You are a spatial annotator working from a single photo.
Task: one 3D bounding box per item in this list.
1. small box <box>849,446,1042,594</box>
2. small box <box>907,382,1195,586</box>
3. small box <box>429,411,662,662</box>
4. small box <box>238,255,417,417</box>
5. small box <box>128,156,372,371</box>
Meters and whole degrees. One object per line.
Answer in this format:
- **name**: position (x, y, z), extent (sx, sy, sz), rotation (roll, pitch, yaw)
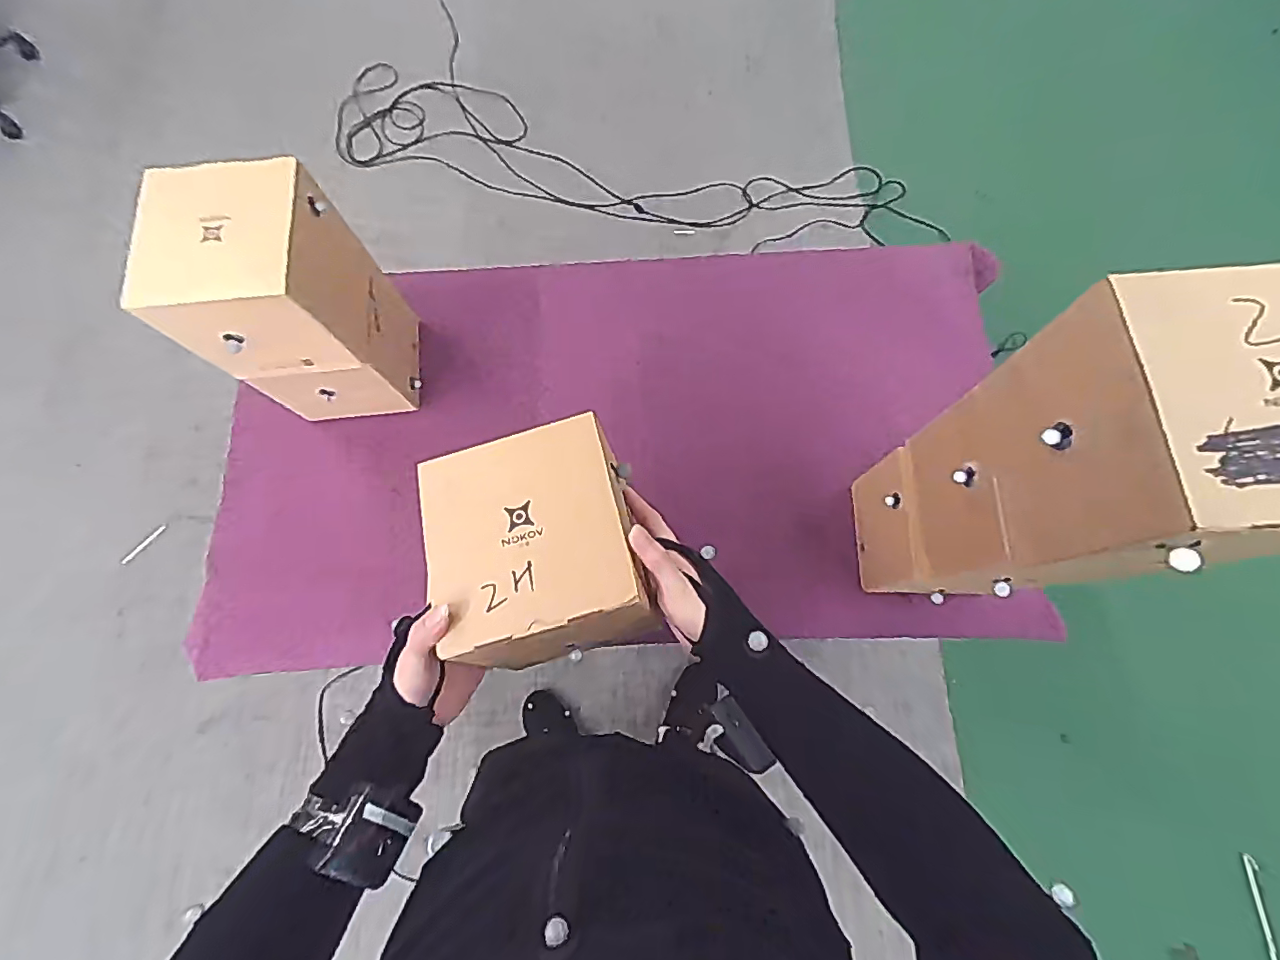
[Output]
- **small box**: position (0.401, 0.061, 0.724), extent (0.179, 0.176, 0.168), rotation (1, 74, 1)
- **small box**: position (0.401, 0.013, 0.568), extent (0.168, 0.176, 0.179), rotation (1, 74, 3)
- **small box**: position (-0.083, 0.065, 0.527), extent (0.168, 0.176, 0.179), rotation (-16, 66, 2)
- **small box**: position (-0.445, -0.204, 0.801), extent (0.179, 0.176, 0.168), rotation (-6, 75, -1)
- **small box**: position (-0.441, -0.242, 0.643), extent (0.168, 0.176, 0.179), rotation (-5, 74, -1)
